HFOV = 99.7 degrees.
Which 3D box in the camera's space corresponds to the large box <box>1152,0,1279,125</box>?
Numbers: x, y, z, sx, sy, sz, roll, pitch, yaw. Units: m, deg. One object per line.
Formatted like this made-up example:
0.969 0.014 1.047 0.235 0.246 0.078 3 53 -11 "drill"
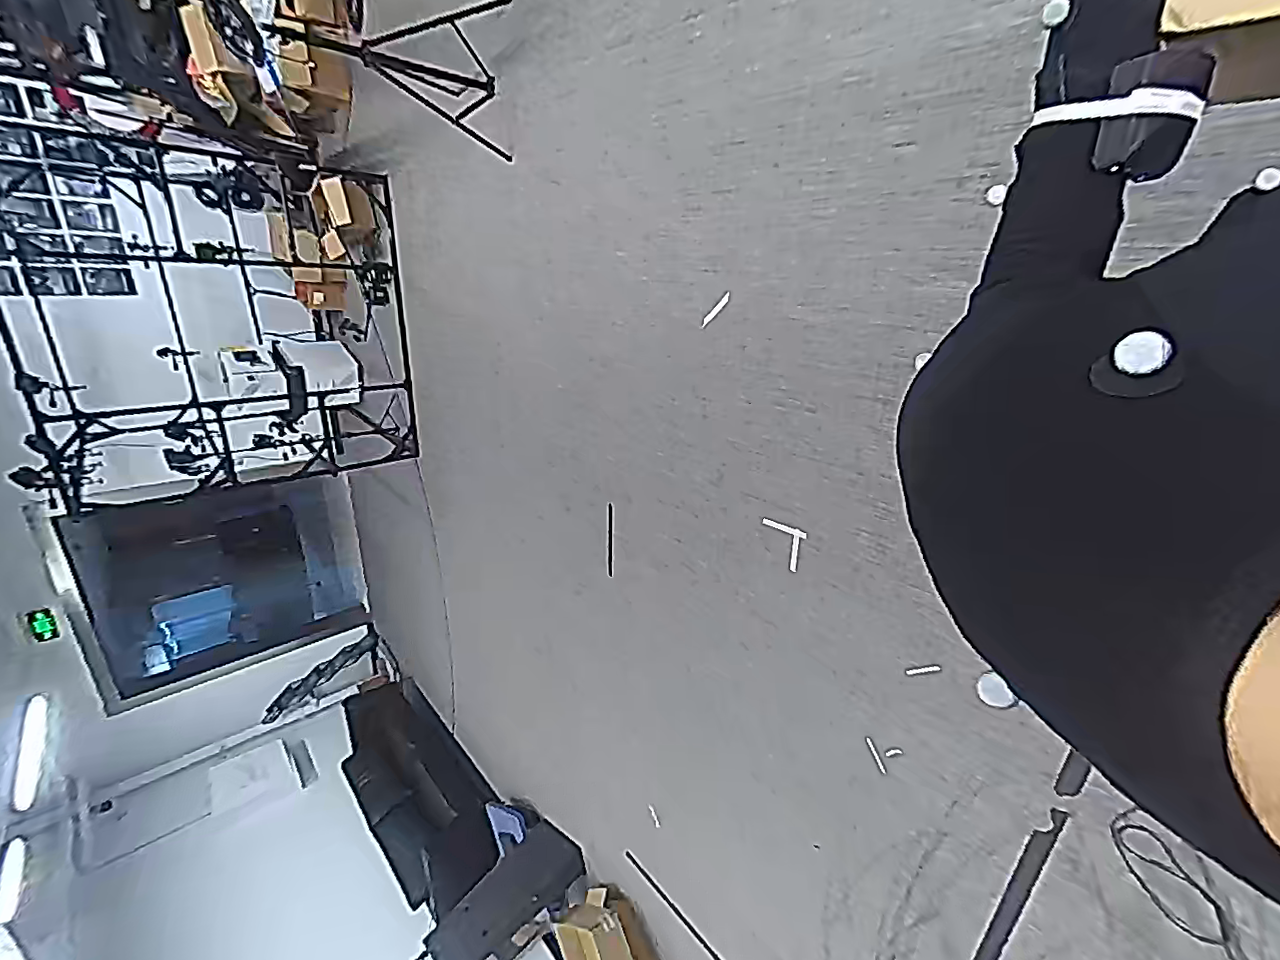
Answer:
0.571 -0.399 0.260 0.408 0.320 0.320 22 123 40 "large box"
